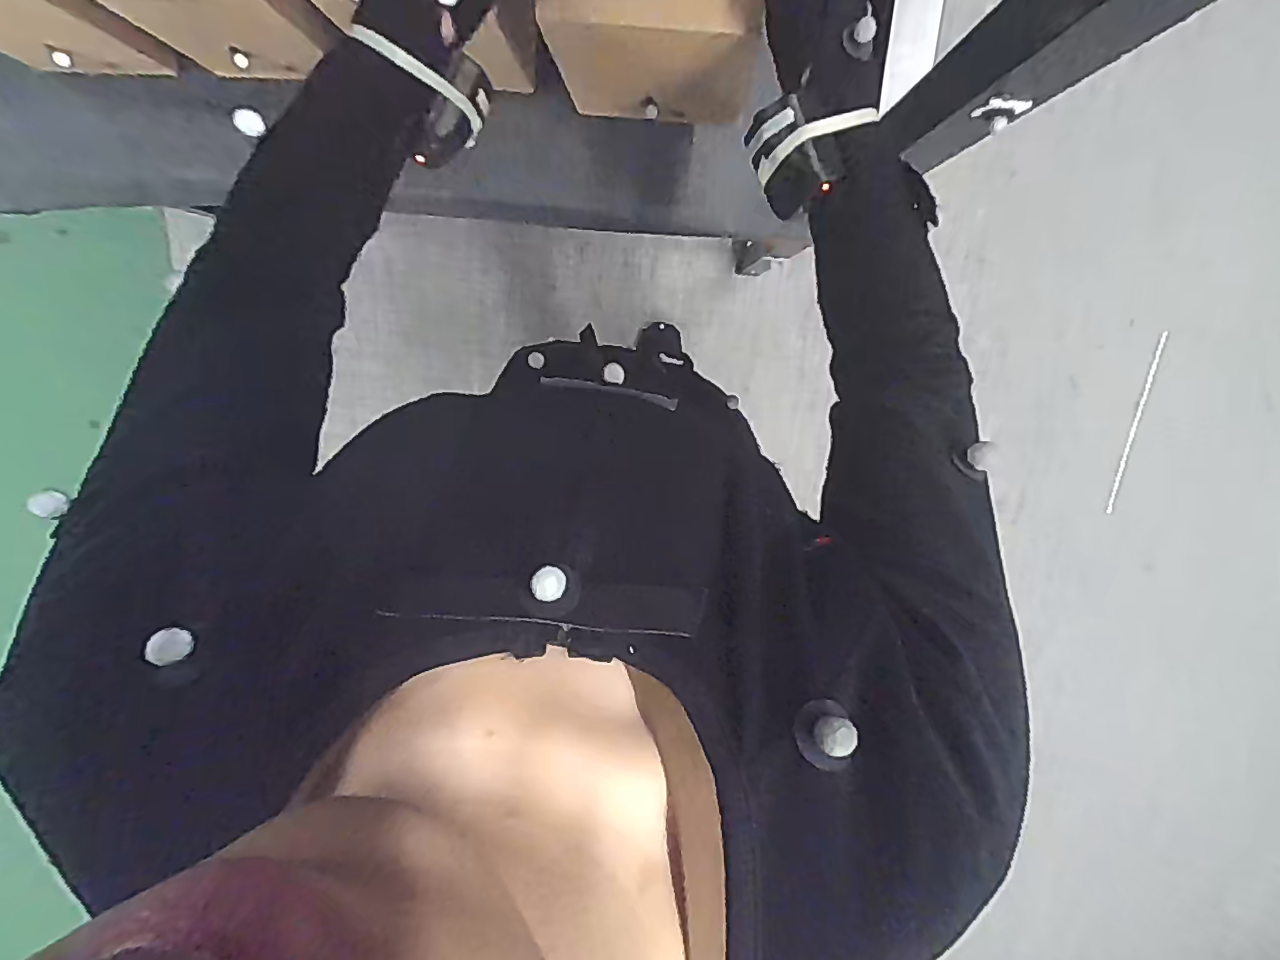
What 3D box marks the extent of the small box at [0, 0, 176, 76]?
[{"bbox_3d":[-0.610,-0.536,0.525,0.168,0.176,0.179,2,105,1],"label":"small box"}]
